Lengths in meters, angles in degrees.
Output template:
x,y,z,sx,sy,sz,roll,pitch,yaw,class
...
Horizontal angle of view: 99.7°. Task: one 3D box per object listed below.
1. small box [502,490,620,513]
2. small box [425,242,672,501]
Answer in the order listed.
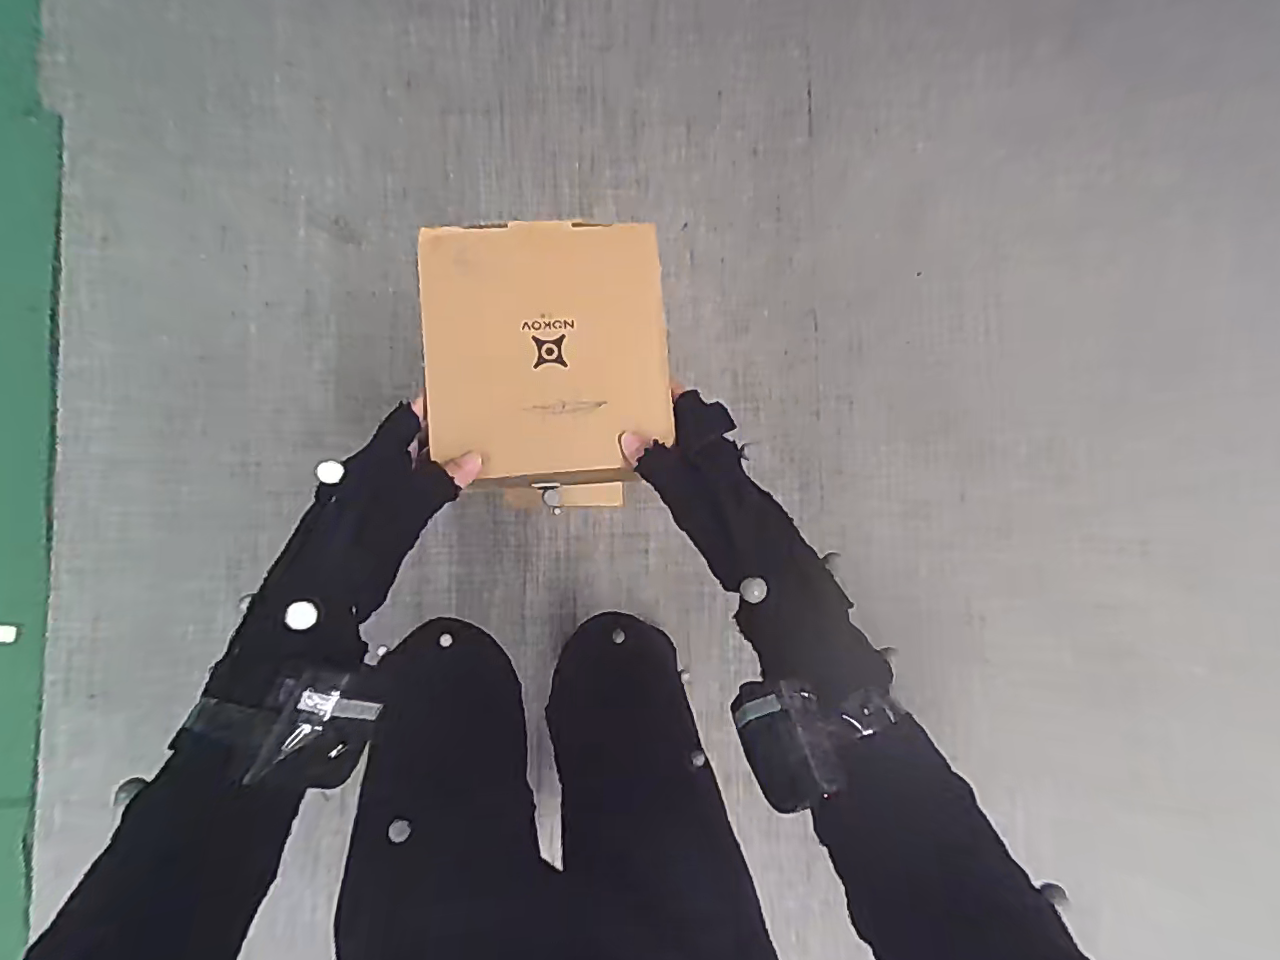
x,y,z,sx,sy,sz,roll,pitch,yaw,class
-0.122,-0.029,0.894,0.179,0.176,0.168,0,87,-2,small box
-0.075,-0.078,0.464,0.168,0.176,0.179,-5,87,-7,small box
